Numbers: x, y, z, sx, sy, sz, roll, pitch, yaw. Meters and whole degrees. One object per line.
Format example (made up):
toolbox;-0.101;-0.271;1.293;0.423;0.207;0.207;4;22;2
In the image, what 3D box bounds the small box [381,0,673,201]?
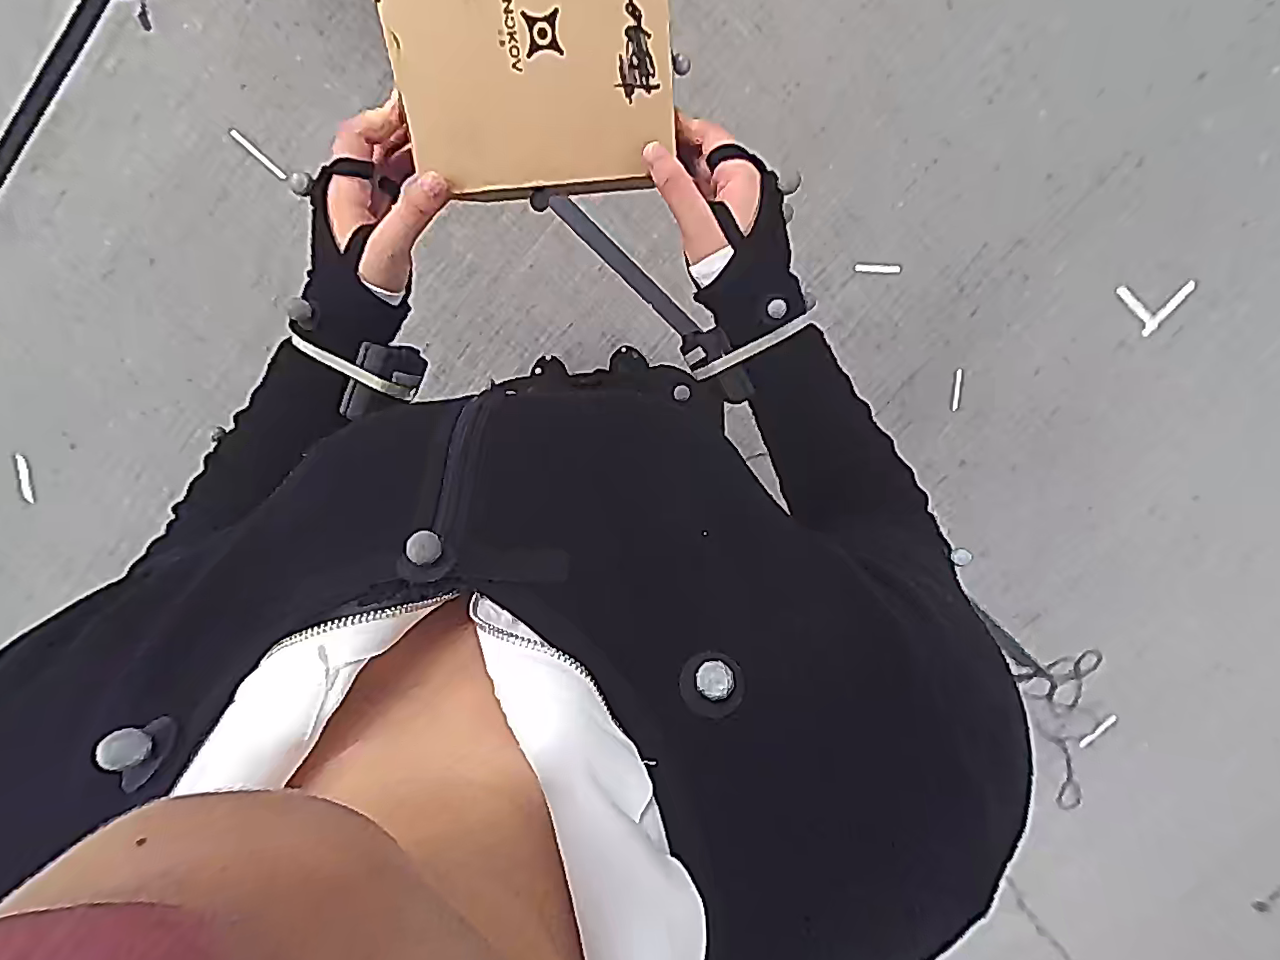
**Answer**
small box;-0.069;-0.308;0.404;0.179;0.176;0.168;-4;116;0
